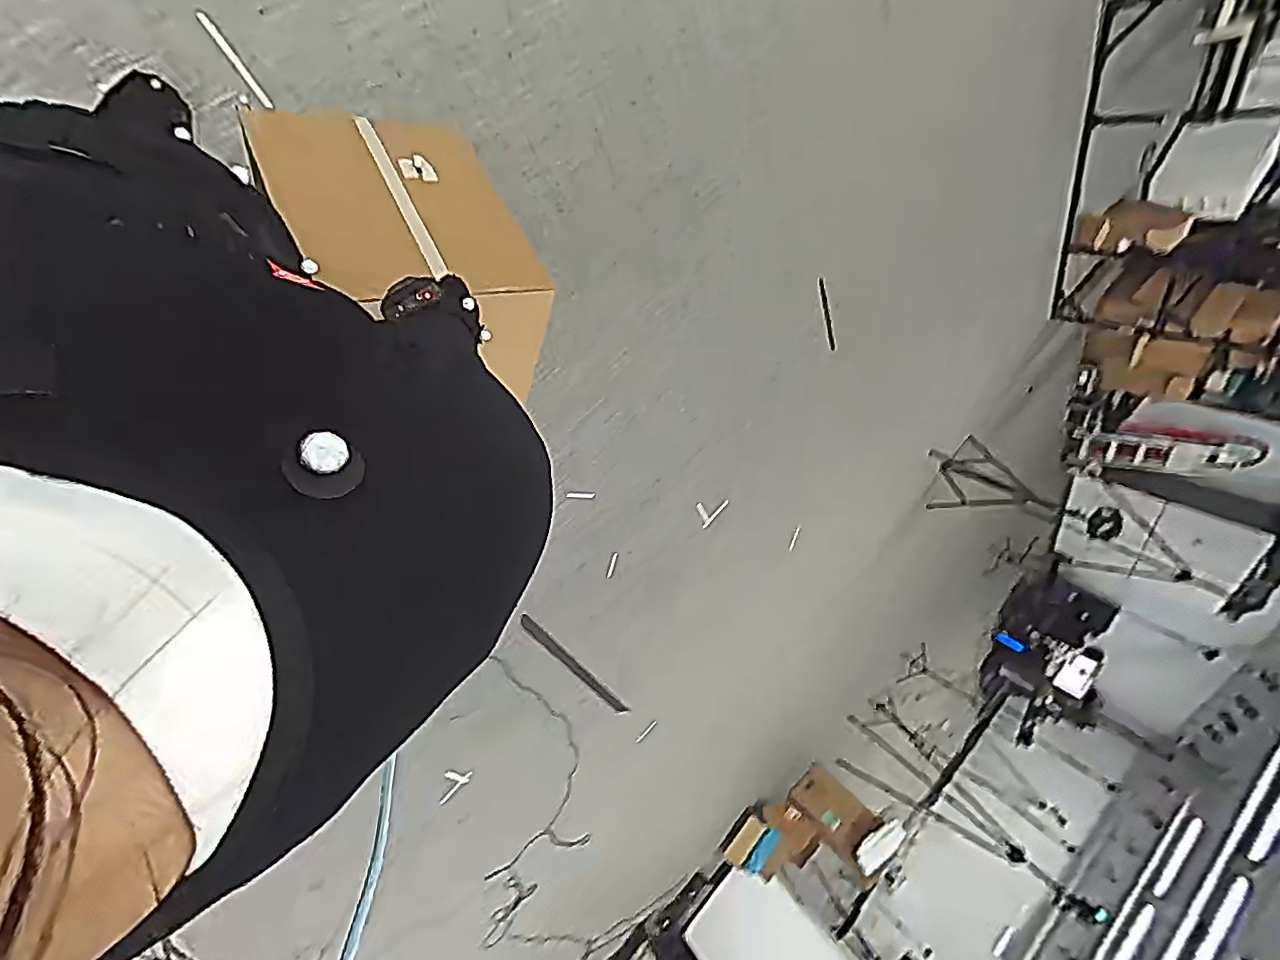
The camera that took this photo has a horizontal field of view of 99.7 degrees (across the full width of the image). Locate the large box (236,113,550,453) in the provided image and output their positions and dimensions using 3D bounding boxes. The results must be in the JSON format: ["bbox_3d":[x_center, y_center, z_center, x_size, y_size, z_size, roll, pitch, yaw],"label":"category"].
[{"bbox_3d":[-0.397,-0.313,0.883,0.320,0.408,0.320,-17,155,-34],"label":"large box"}]
